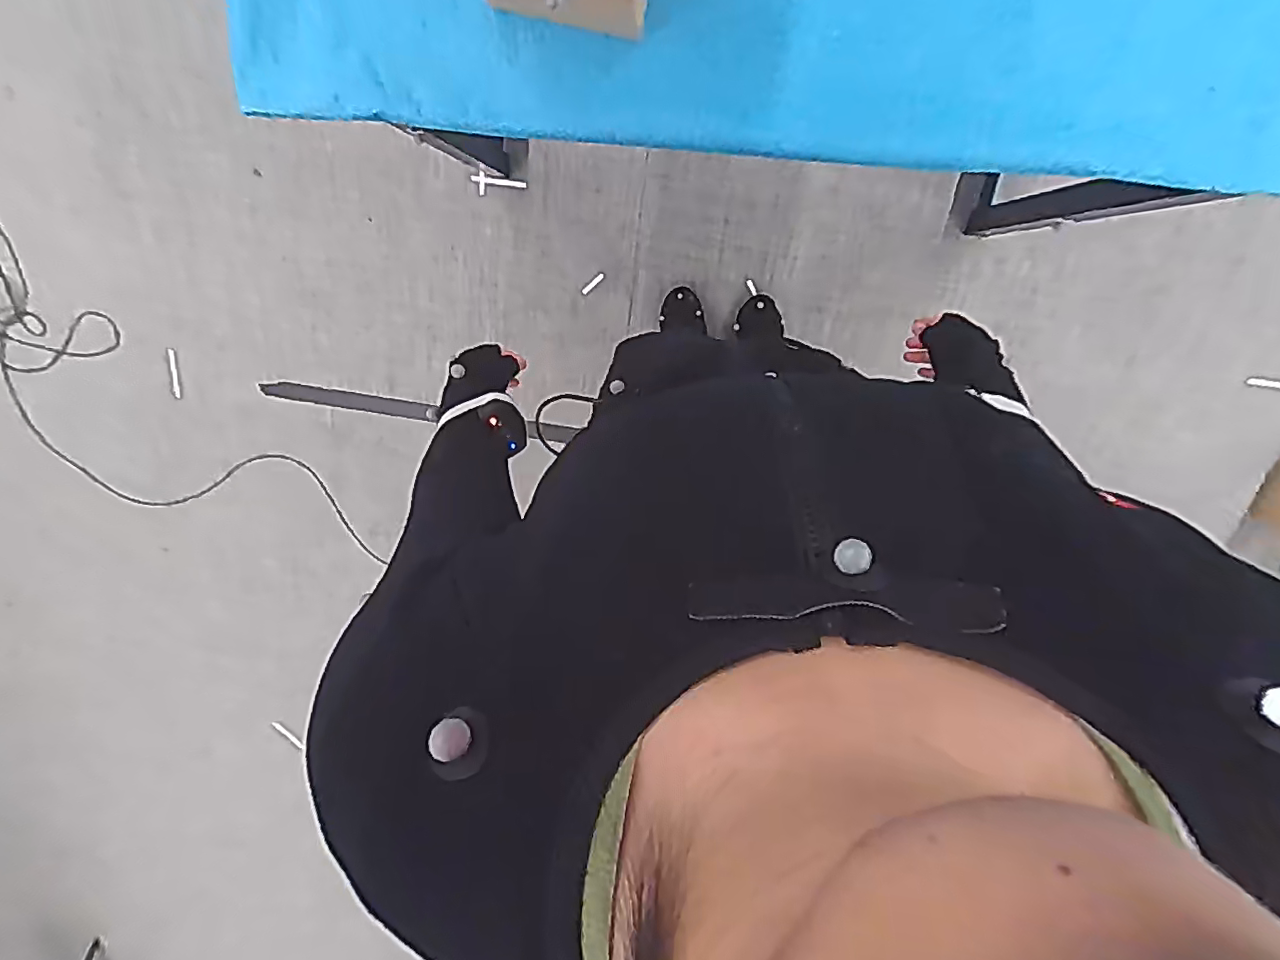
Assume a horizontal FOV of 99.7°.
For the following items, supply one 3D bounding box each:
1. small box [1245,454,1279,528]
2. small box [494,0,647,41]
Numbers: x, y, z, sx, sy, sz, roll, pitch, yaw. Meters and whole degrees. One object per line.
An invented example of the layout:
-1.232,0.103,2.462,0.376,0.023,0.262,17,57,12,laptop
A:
1.686,0.044,1.339,0.168,0.176,0.179,4,112,3,small box
-0.069,-0.539,0.476,0.168,0.176,0.179,12,112,-1,small box
